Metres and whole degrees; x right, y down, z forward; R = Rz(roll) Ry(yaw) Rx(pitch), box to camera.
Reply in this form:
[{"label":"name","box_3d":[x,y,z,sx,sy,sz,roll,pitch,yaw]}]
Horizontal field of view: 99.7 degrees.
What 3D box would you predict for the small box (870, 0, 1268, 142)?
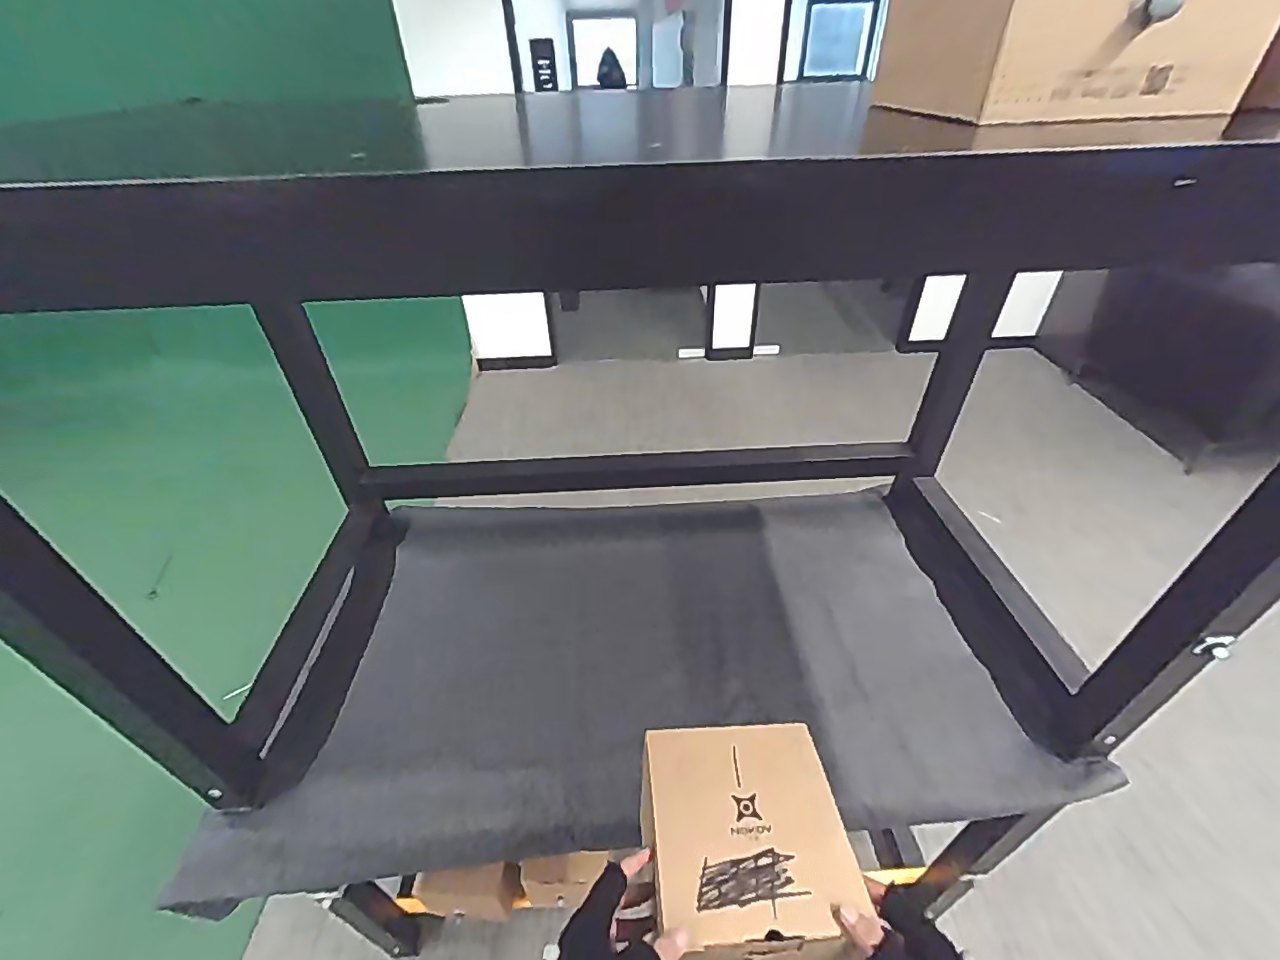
[{"label":"small box","box_3d":[0.281,-0.338,0.368,0.168,0.176,0.179,-3,38,-1]}]
